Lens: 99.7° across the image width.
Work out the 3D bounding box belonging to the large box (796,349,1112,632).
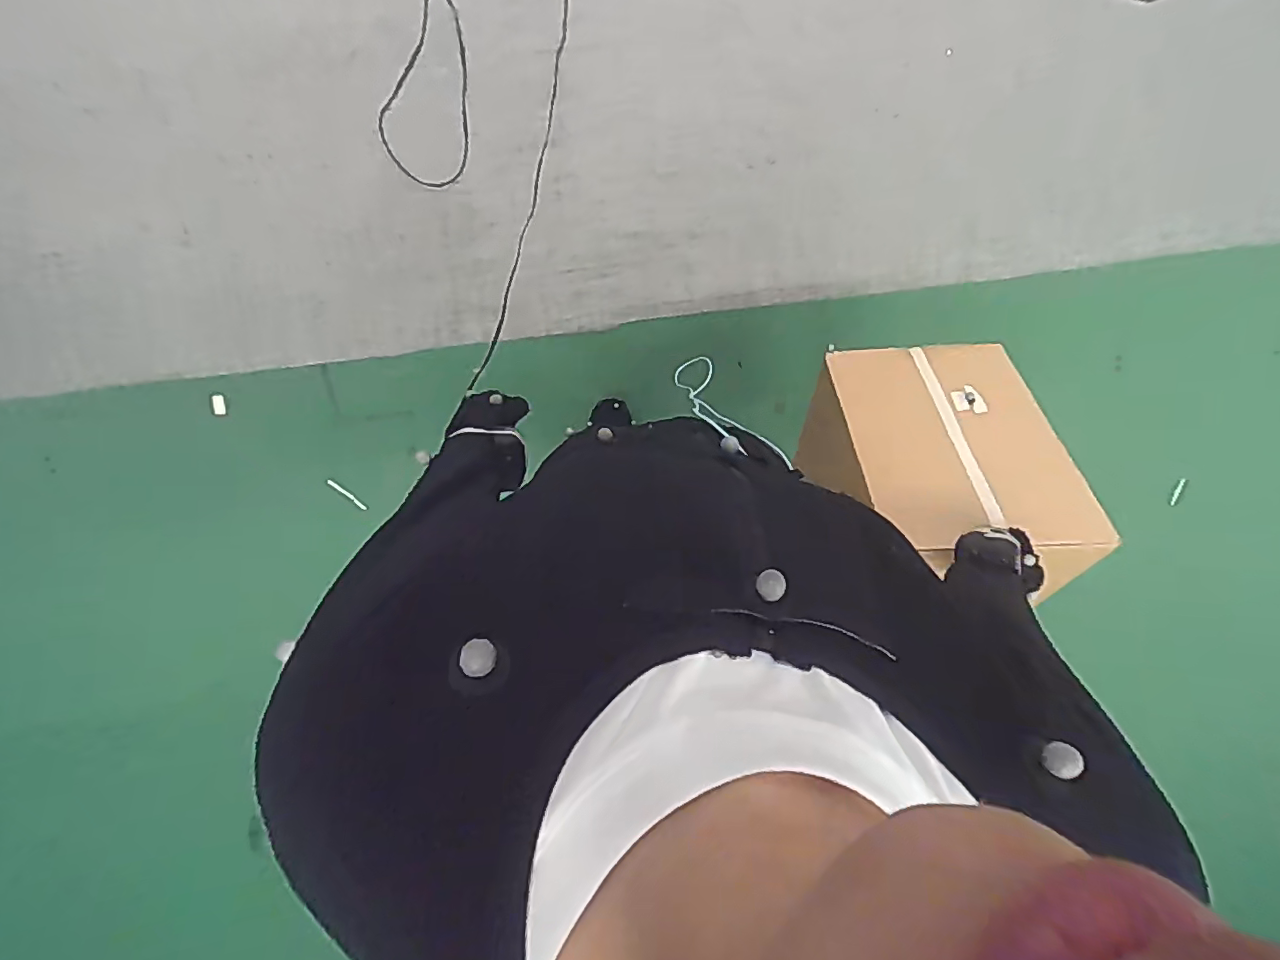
[{"bbox_3d":[0.496,0.021,0.976,0.320,0.408,0.320,-3,143,1],"label":"large box"}]
